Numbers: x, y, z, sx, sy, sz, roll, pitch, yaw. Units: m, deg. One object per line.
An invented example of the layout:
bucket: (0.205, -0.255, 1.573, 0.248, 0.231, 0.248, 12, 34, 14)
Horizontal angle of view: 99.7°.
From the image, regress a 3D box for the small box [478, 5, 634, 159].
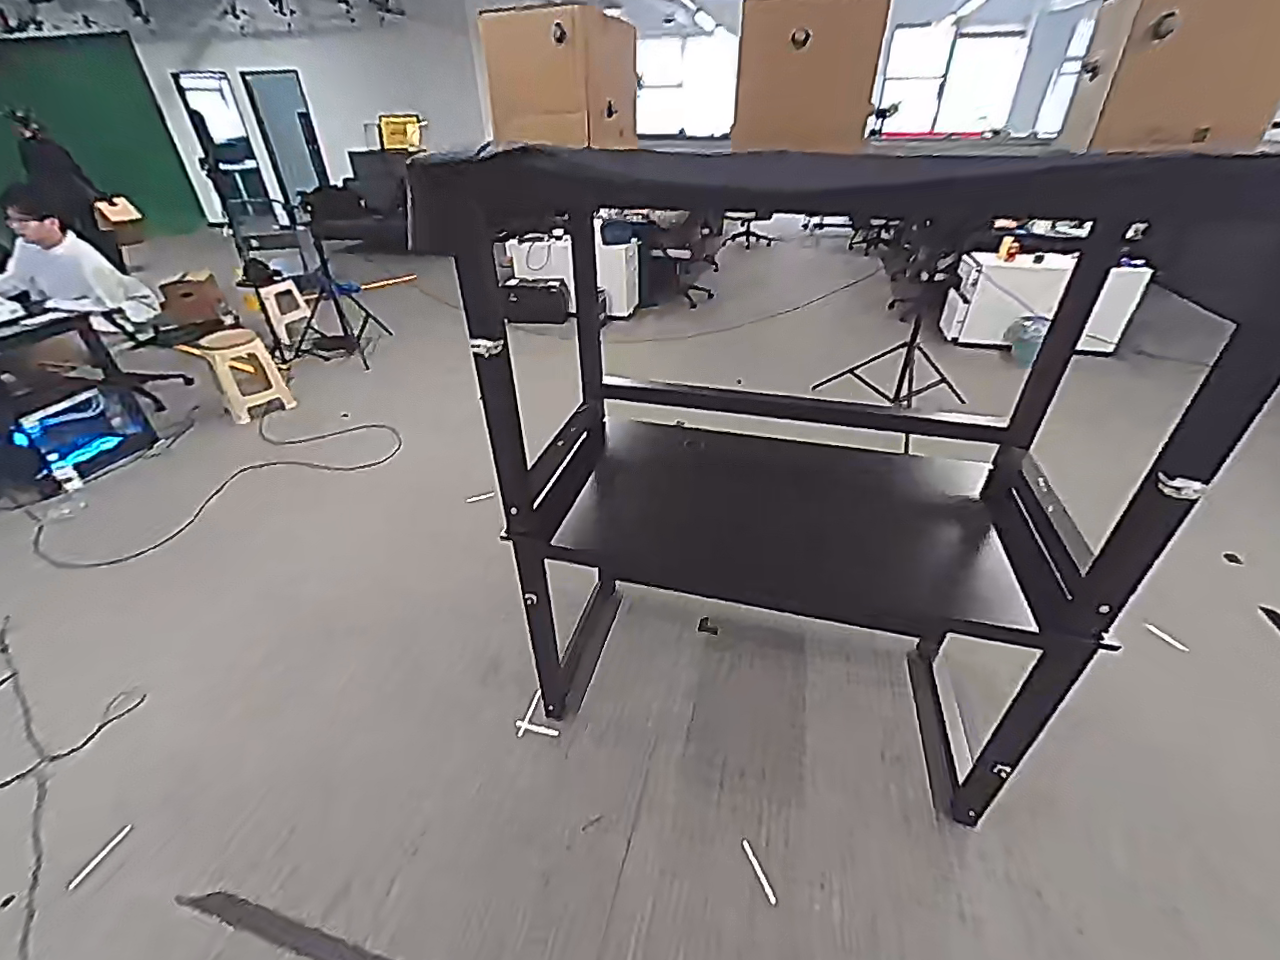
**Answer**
small box: (-0.120, -0.599, 0.835, 0.179, 0.176, 0.168, 13, 34, 20)

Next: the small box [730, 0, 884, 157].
small box: (0.223, -0.553, 0.757, 0.179, 0.176, 0.168, 7, 33, 10)
